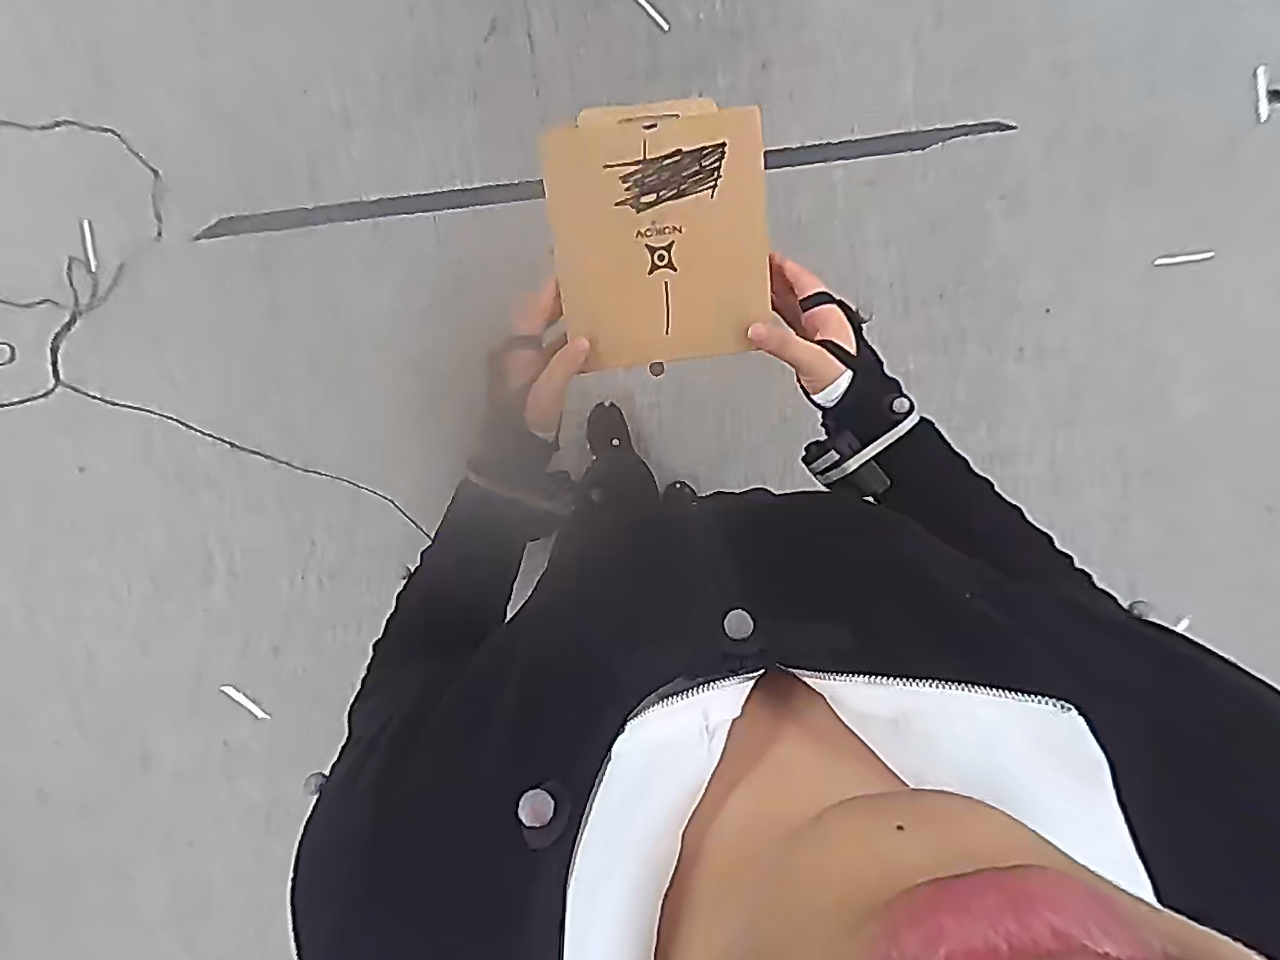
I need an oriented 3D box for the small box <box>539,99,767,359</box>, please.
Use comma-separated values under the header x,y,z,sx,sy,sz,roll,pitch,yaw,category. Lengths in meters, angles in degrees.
x,y,z,sx,sy,sz,roll,pitch,yaw,category
0.010,-0.207,0.495,0.168,0.176,0.179,-7,104,0,small box
